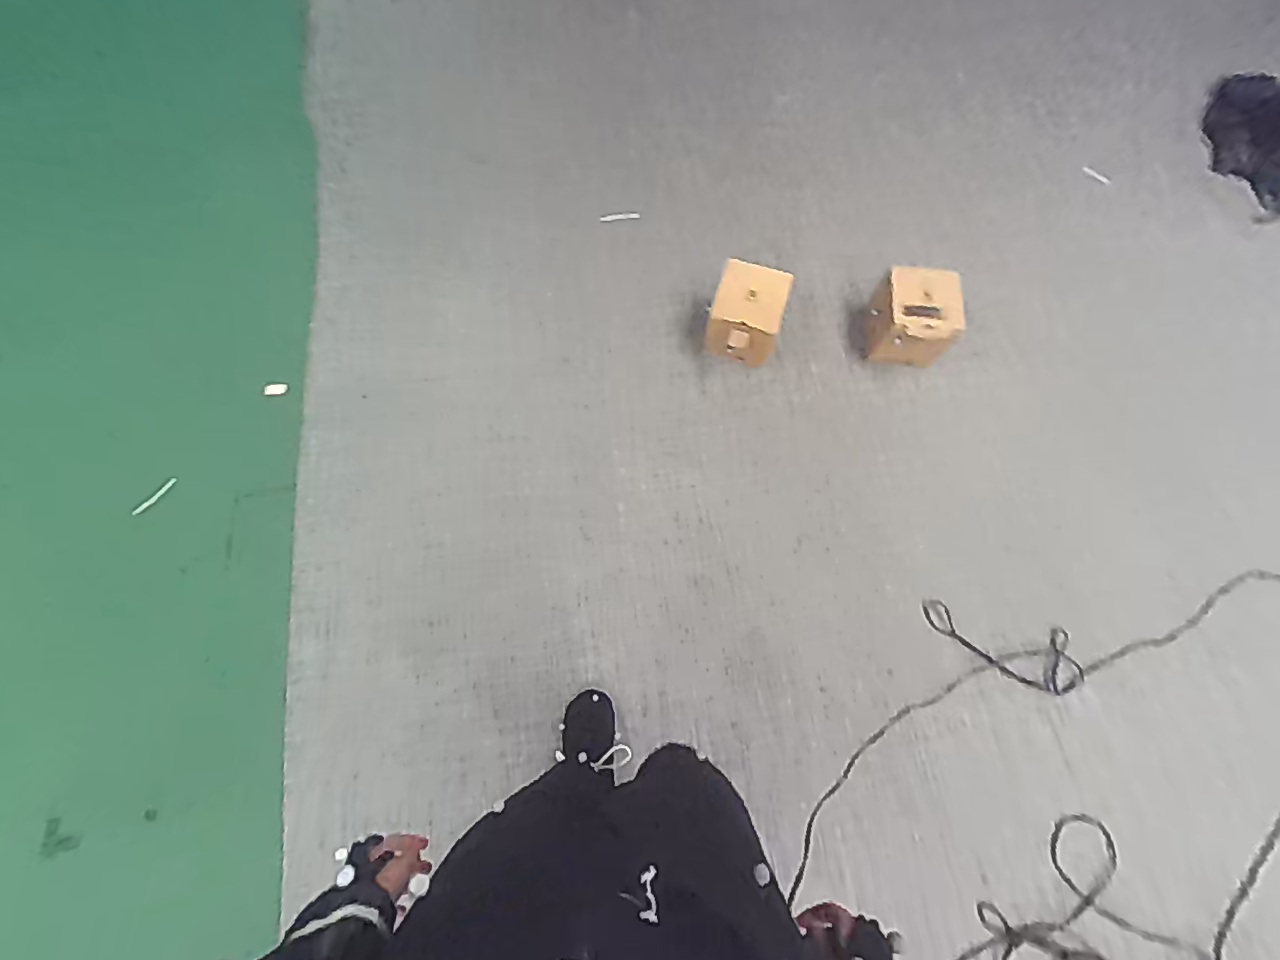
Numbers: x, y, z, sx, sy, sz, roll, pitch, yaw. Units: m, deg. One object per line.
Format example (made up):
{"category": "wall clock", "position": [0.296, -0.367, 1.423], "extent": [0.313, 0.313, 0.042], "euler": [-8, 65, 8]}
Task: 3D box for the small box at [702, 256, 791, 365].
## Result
{"category": "small box", "position": [0.260, -0.419, 1.356], "extent": [0.168, 0.176, 0.179], "euler": [17, 74, 4]}
